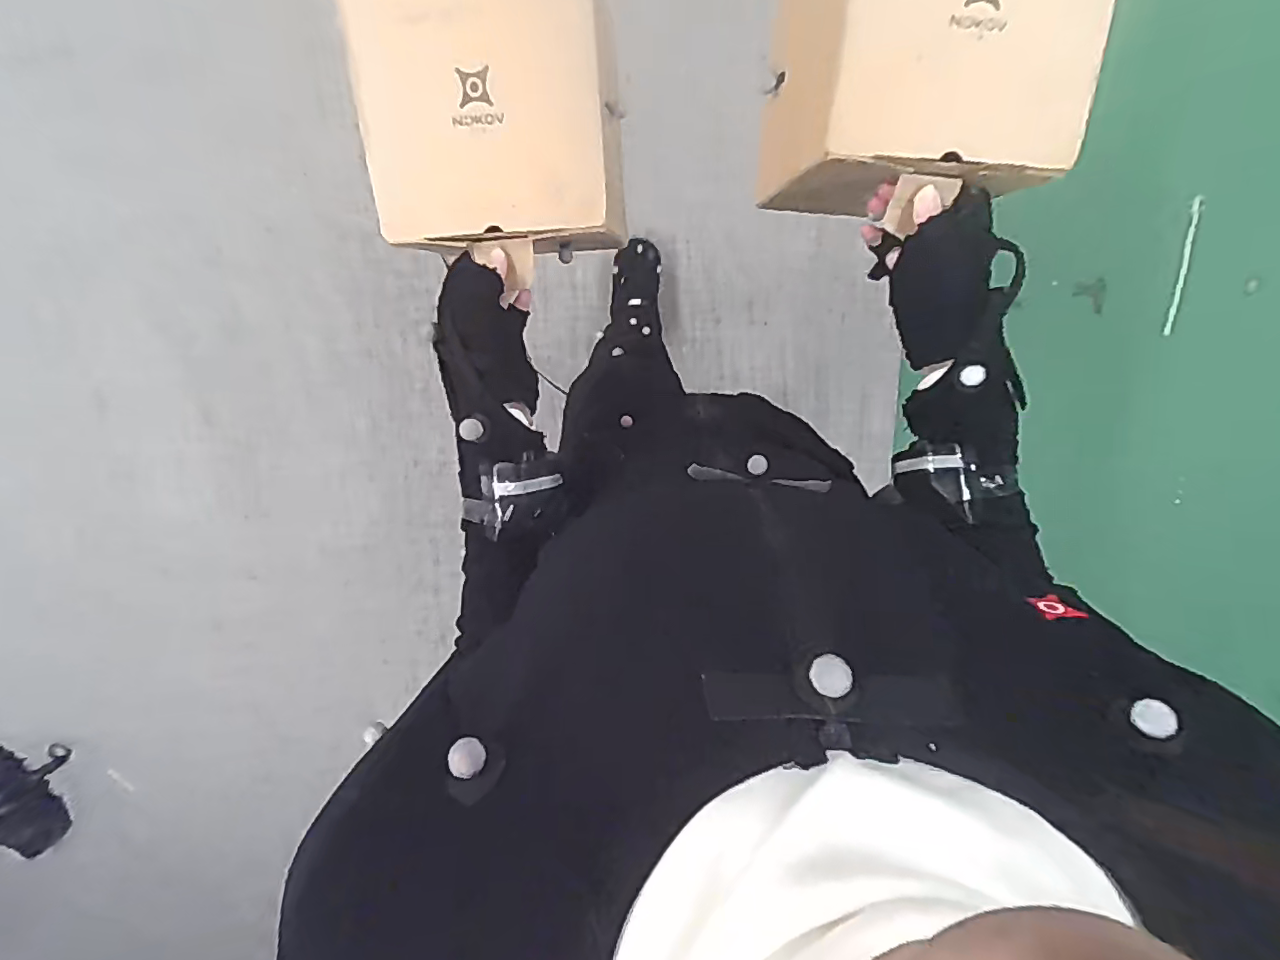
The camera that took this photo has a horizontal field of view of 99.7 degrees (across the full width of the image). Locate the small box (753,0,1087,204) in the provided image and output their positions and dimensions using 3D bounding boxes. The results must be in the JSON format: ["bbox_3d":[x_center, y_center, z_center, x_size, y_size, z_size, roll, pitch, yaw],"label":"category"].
[{"bbox_3d":[0.189,-0.318,0.406,0.168,0.176,0.179,1,107,-4],"label":"small box"}]

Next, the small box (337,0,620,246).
[{"bbox_3d":[-0.109,-0.292,0.440,0.168,0.176,0.179,-3,109,3],"label":"small box"}]
